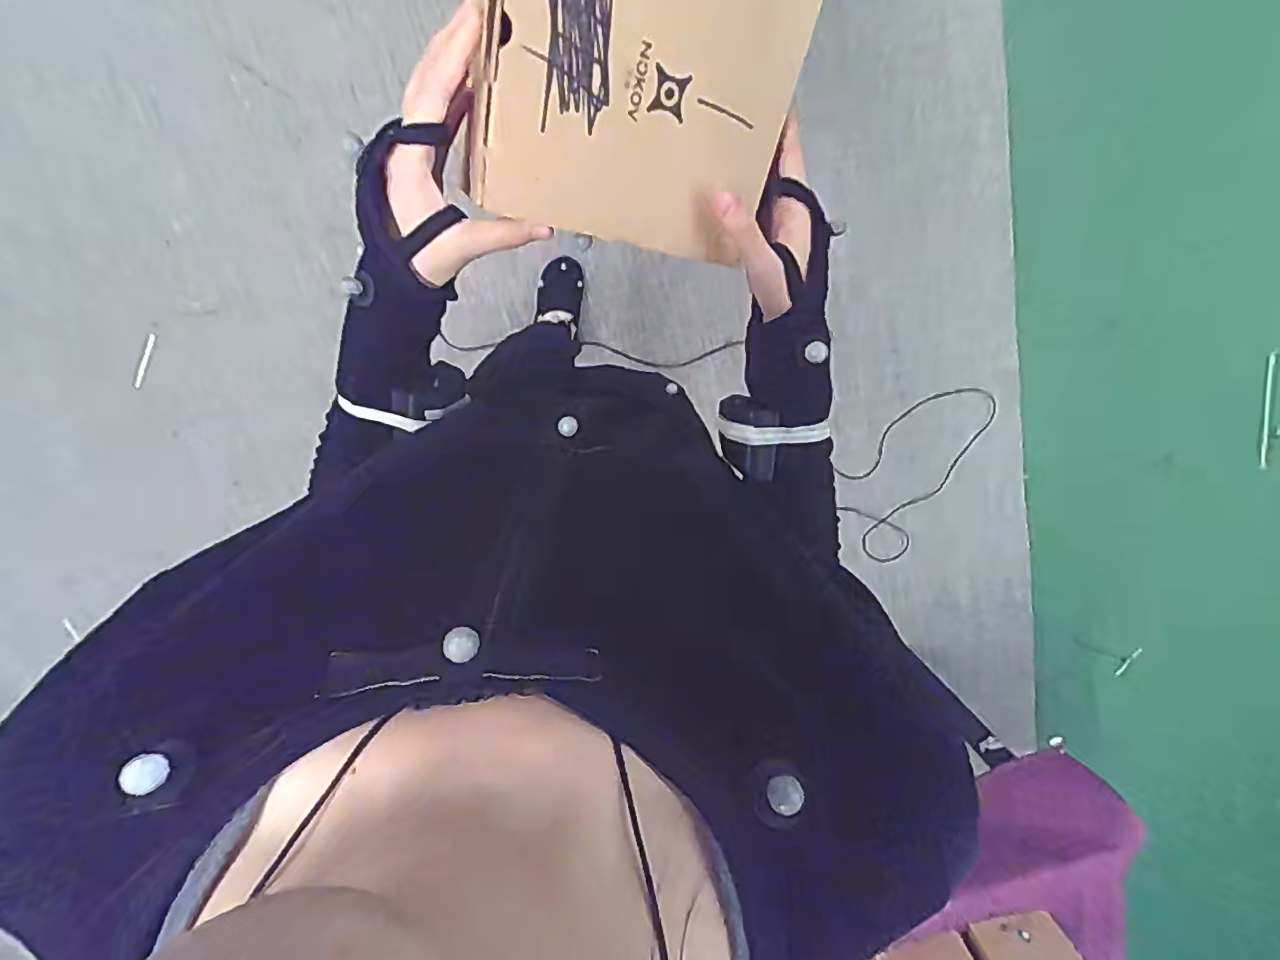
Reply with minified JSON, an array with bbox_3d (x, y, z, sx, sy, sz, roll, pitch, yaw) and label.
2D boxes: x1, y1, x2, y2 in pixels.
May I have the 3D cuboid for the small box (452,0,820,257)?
[{"bbox_3d":[-0.020,-0.263,0.353,0.179,0.176,0.168,1,121,-27],"label":"small box"}]
